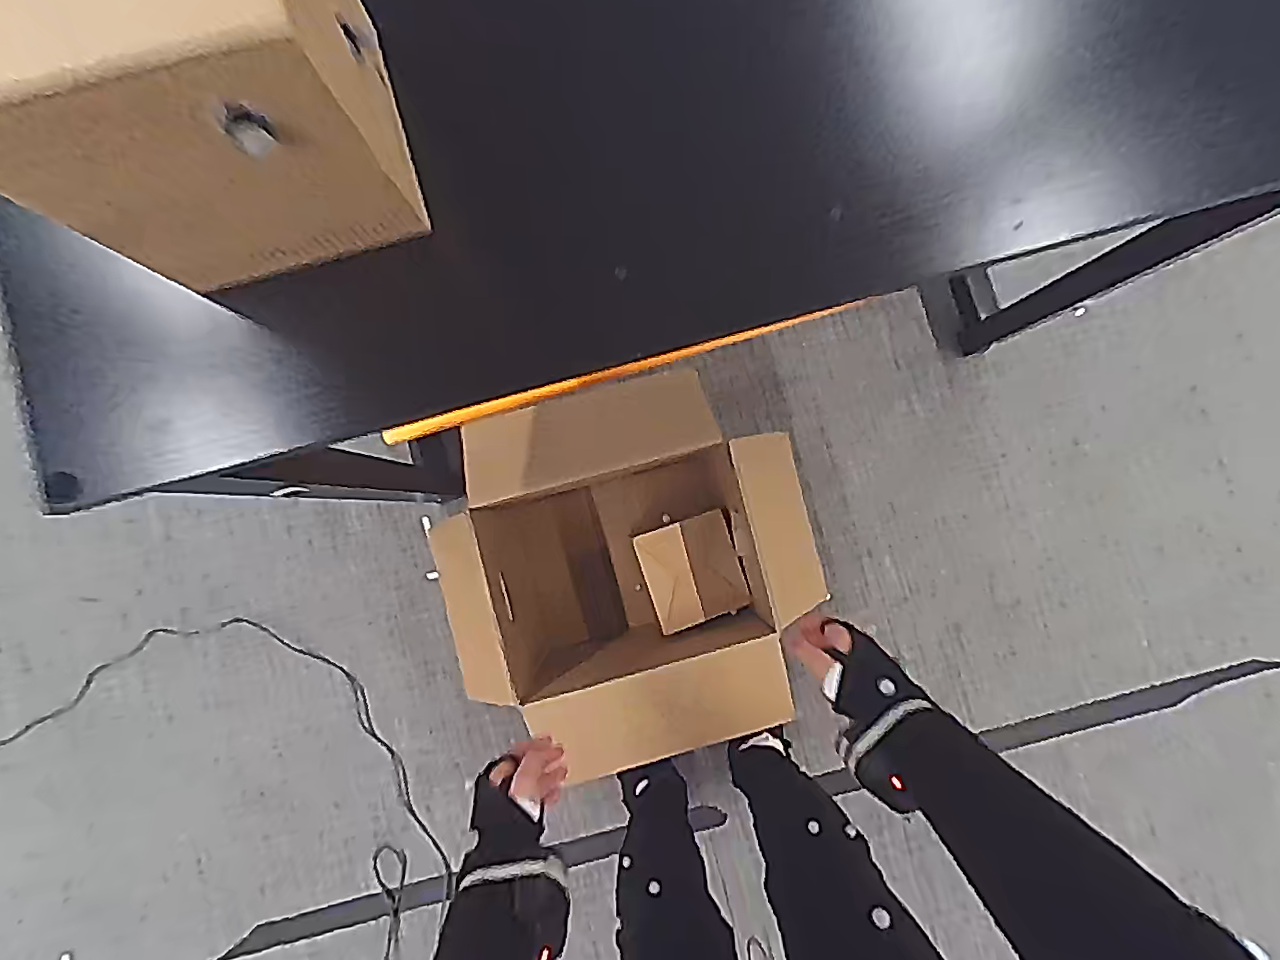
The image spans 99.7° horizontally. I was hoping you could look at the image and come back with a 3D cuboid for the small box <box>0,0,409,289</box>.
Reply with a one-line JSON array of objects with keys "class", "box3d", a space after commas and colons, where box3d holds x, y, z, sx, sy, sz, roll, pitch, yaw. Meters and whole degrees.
[{"class": "small box", "box3d": [-0.255, -0.237, 0.311, 0.179, 0.176, 0.168, -16, 86, -2]}]
